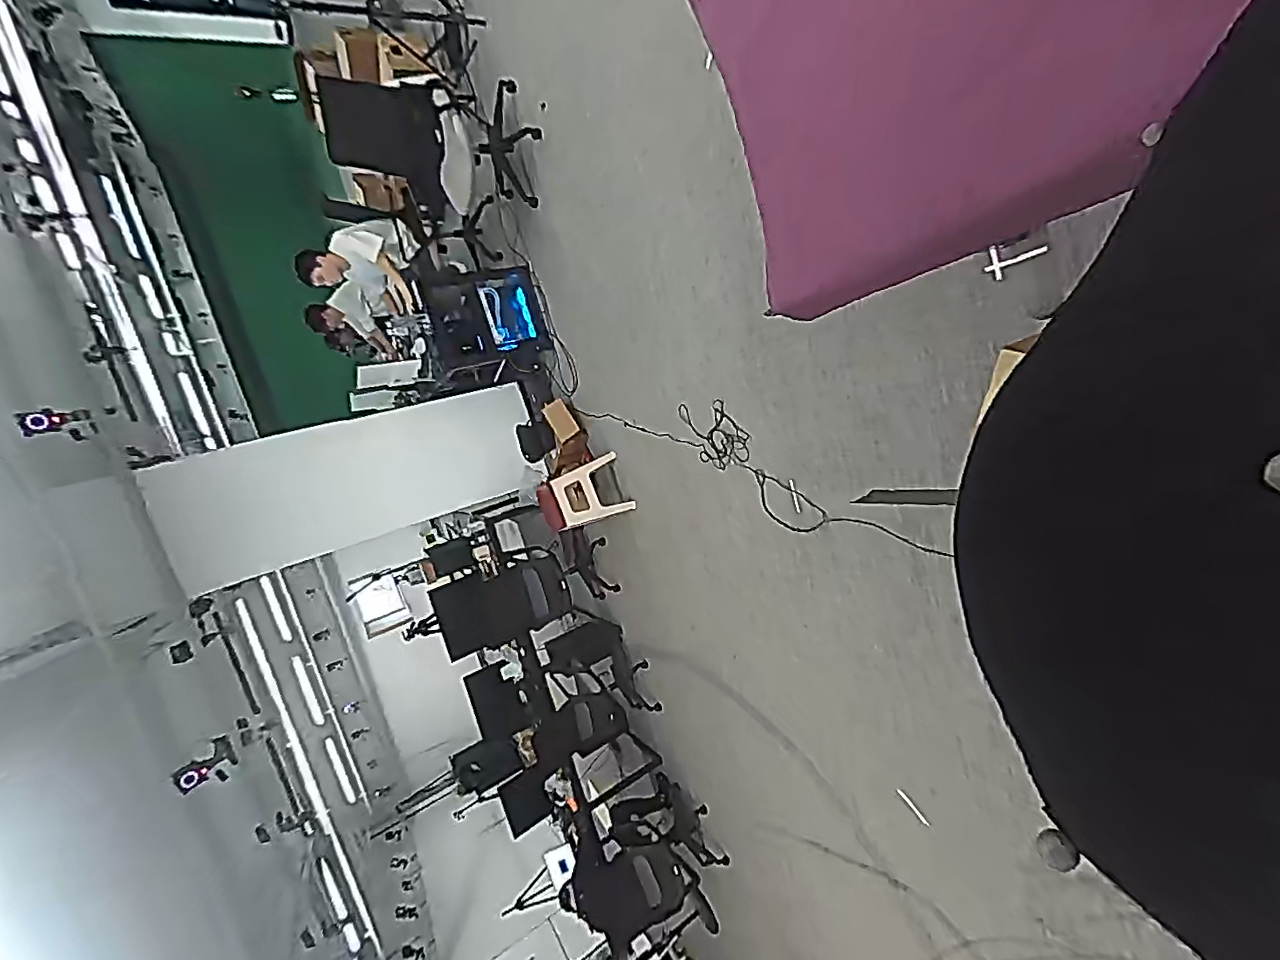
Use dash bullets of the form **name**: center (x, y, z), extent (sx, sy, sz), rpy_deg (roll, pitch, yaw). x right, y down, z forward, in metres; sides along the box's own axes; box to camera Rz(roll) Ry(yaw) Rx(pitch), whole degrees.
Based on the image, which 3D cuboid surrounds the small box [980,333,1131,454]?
- **small box**: center (0.828, -0.181, 1.079), extent (0.168, 0.176, 0.179), rpy_deg (37, 139, 46)
